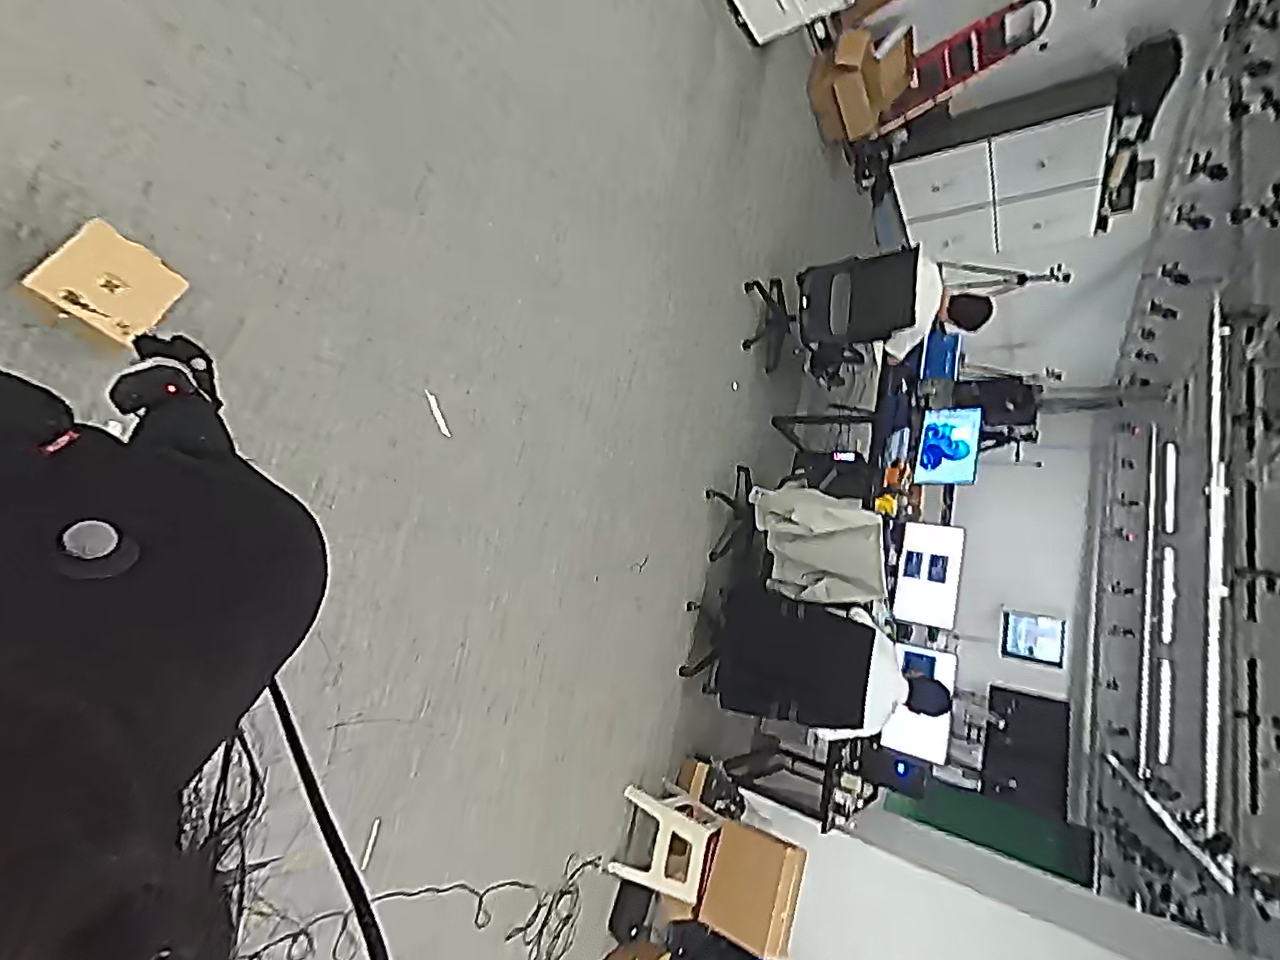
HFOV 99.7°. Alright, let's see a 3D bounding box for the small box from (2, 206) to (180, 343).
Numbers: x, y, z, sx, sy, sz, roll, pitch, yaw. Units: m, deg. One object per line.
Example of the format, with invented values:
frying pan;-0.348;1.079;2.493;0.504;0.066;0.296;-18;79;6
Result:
small box;-1.055;-0.385;1.040;0.168;0.176;0.179;49;55;-45
